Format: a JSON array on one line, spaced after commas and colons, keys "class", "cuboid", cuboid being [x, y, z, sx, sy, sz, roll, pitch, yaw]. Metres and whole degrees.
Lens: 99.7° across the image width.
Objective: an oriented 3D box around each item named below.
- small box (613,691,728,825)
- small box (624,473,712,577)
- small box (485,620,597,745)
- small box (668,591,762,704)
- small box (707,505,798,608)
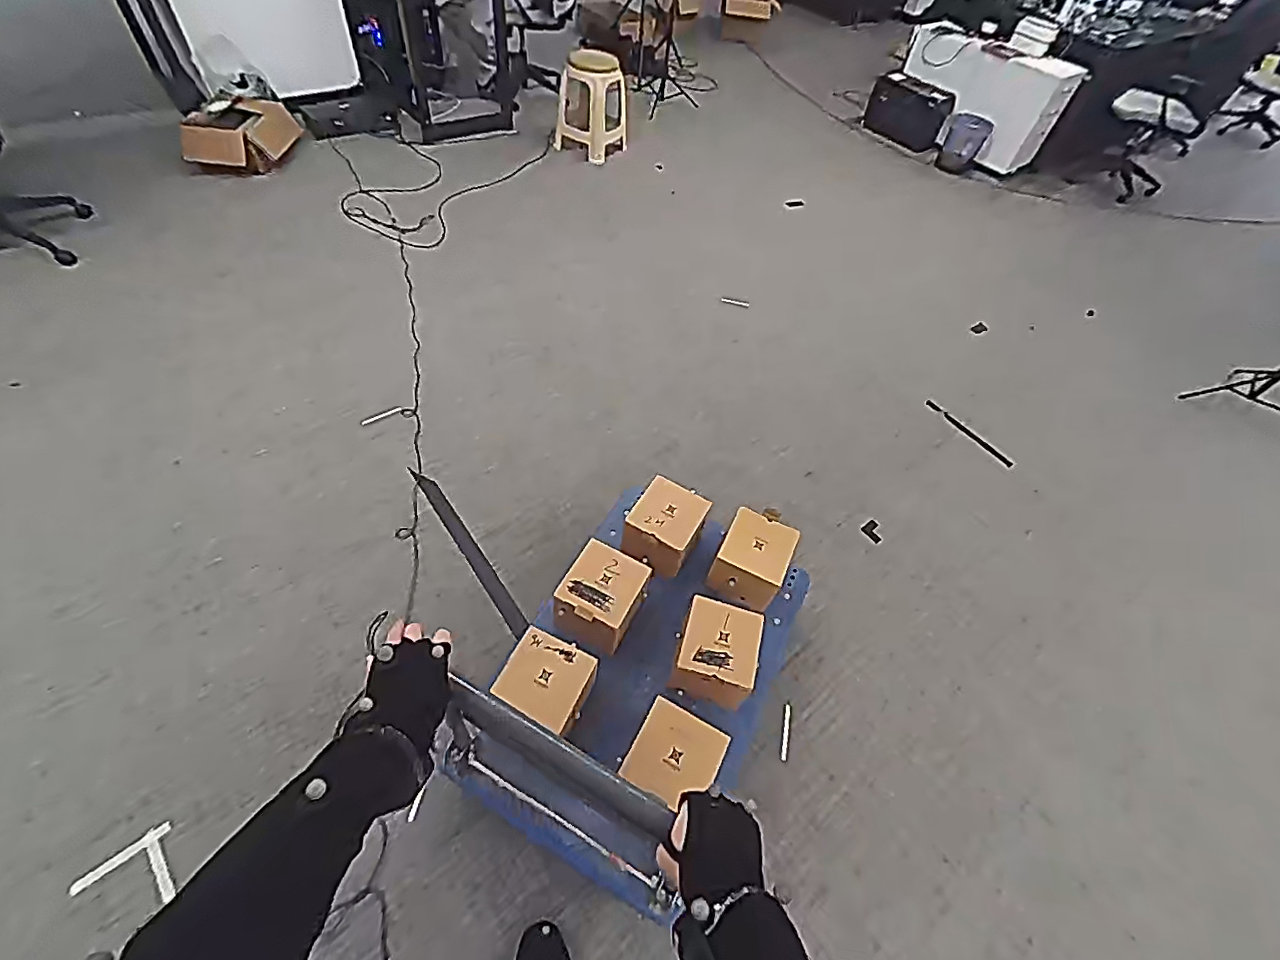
[{"class": "small box", "cuboid": [0.056, 0.571, 1.103, 0.168, 0.176, 0.179, 28, 54, 12]}, {"class": "small box", "cuboid": [0.067, 0.122, 1.433, 0.168, 0.176, 0.179, 29, 56, 13]}, {"class": "small box", "cuboid": [-0.205, 0.440, 1.162, 0.168, 0.176, 0.179, 25, 55, 10]}, {"class": "small box", "cuboid": [0.169, 0.392, 1.250, 0.168, 0.176, 0.179, 17, 52, 5]}, {"class": "small box", "cuboid": [0.287, 0.203, 1.407, 0.168, 0.176, 0.179, 25, 54, 11]}]
